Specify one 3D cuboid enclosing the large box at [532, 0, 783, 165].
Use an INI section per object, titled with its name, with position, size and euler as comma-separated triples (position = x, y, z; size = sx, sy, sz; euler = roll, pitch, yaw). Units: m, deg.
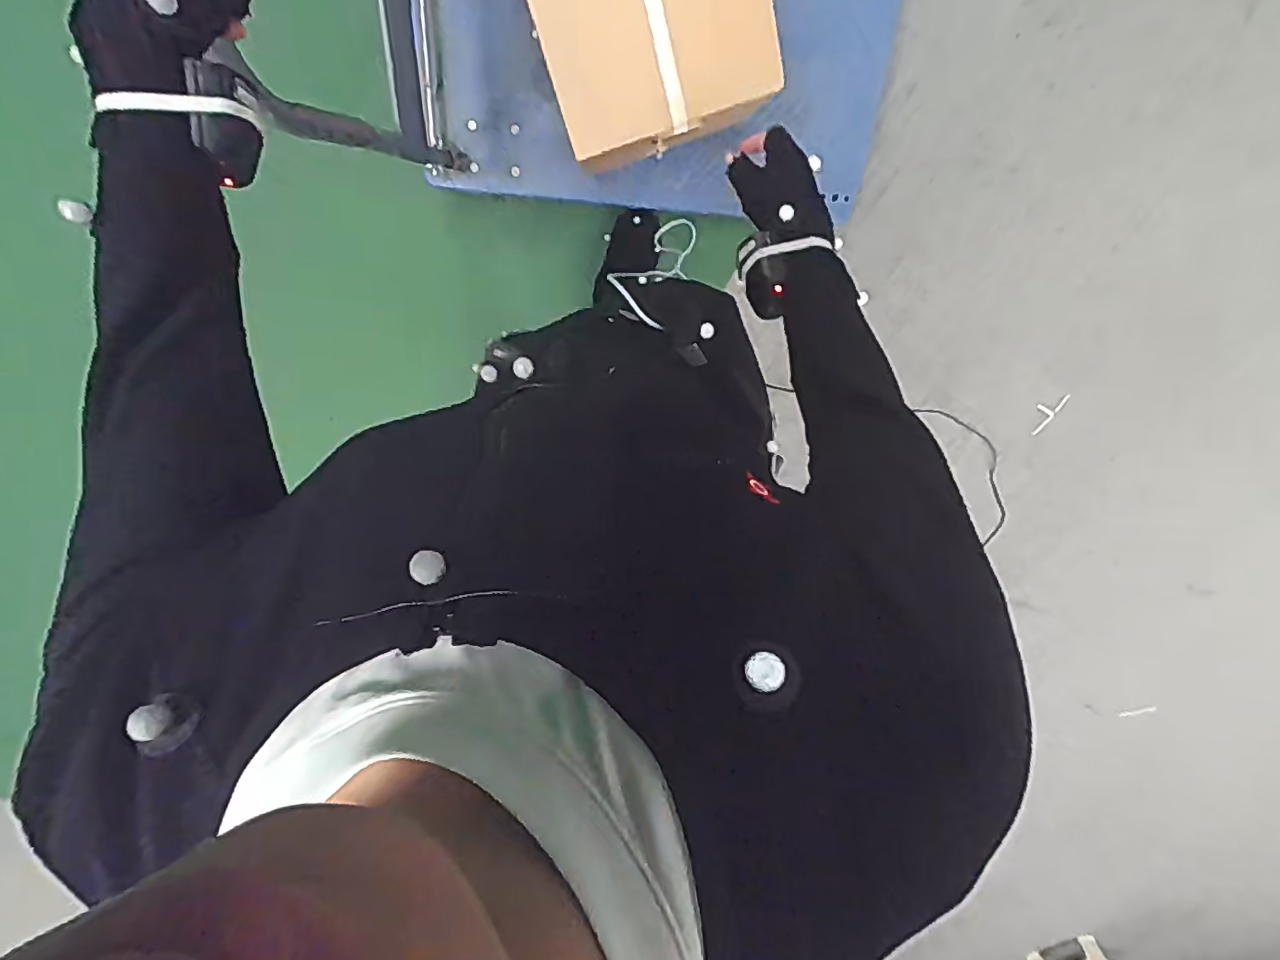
[large box]
position = -0.002, -0.760, 0.825
size = 0.320, 0.320, 0.408
euler = -15, 115, 7
